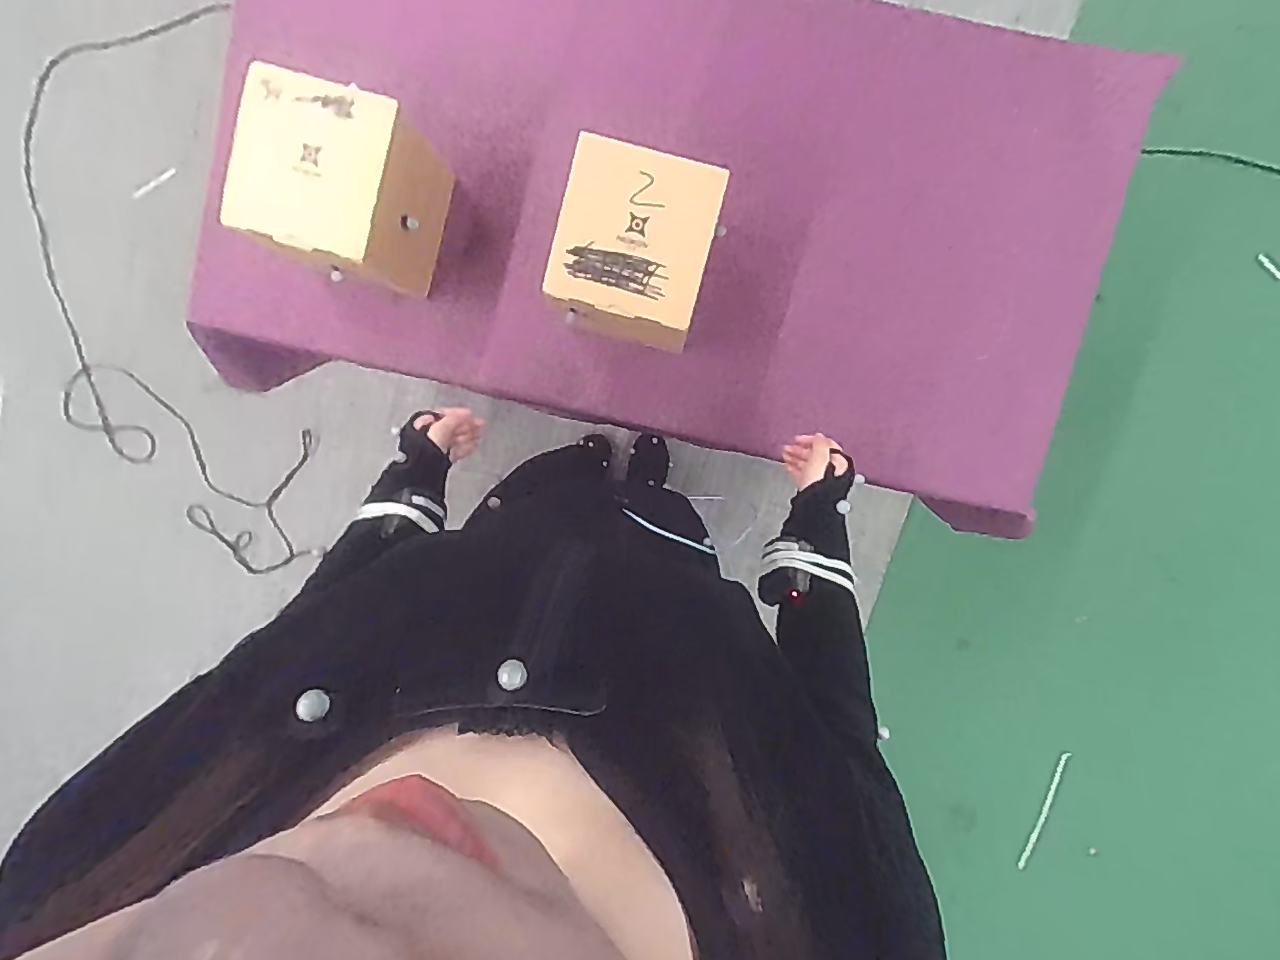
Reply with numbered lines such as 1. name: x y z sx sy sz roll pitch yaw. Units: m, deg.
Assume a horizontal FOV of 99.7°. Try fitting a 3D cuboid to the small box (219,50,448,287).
1. small box: -0.353 -0.354 0.654 0.168 0.176 0.179 16 96 -2
